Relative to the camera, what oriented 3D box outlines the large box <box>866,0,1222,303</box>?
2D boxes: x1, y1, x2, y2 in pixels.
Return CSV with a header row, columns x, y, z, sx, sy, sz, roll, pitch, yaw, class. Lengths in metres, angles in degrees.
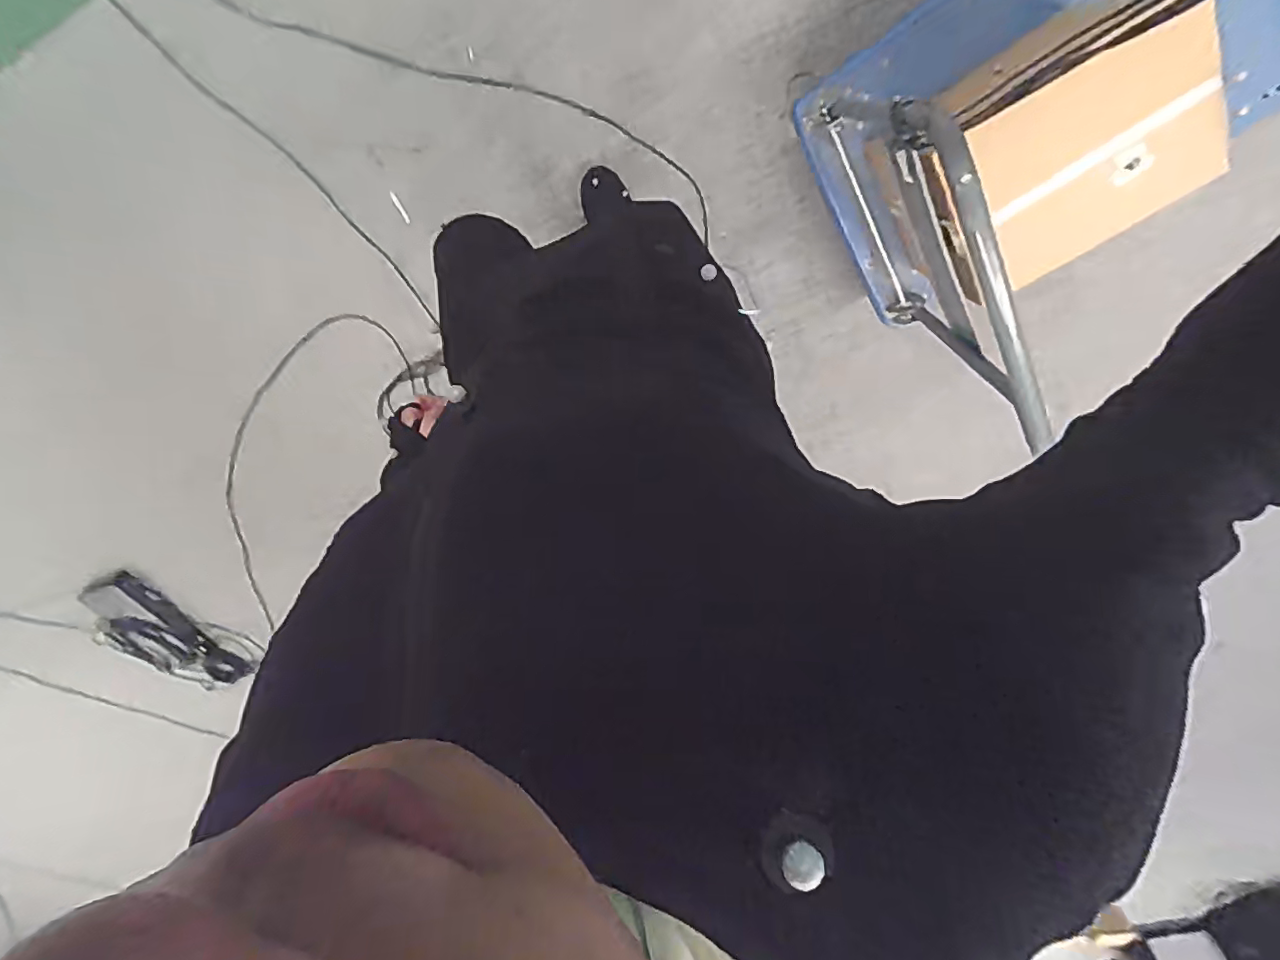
x,y,z,sx,sy,sz,roll,pitch,yaw,class
0.717,-0.611,1.014,0.408,0.320,0.320,-30,120,18,large box
